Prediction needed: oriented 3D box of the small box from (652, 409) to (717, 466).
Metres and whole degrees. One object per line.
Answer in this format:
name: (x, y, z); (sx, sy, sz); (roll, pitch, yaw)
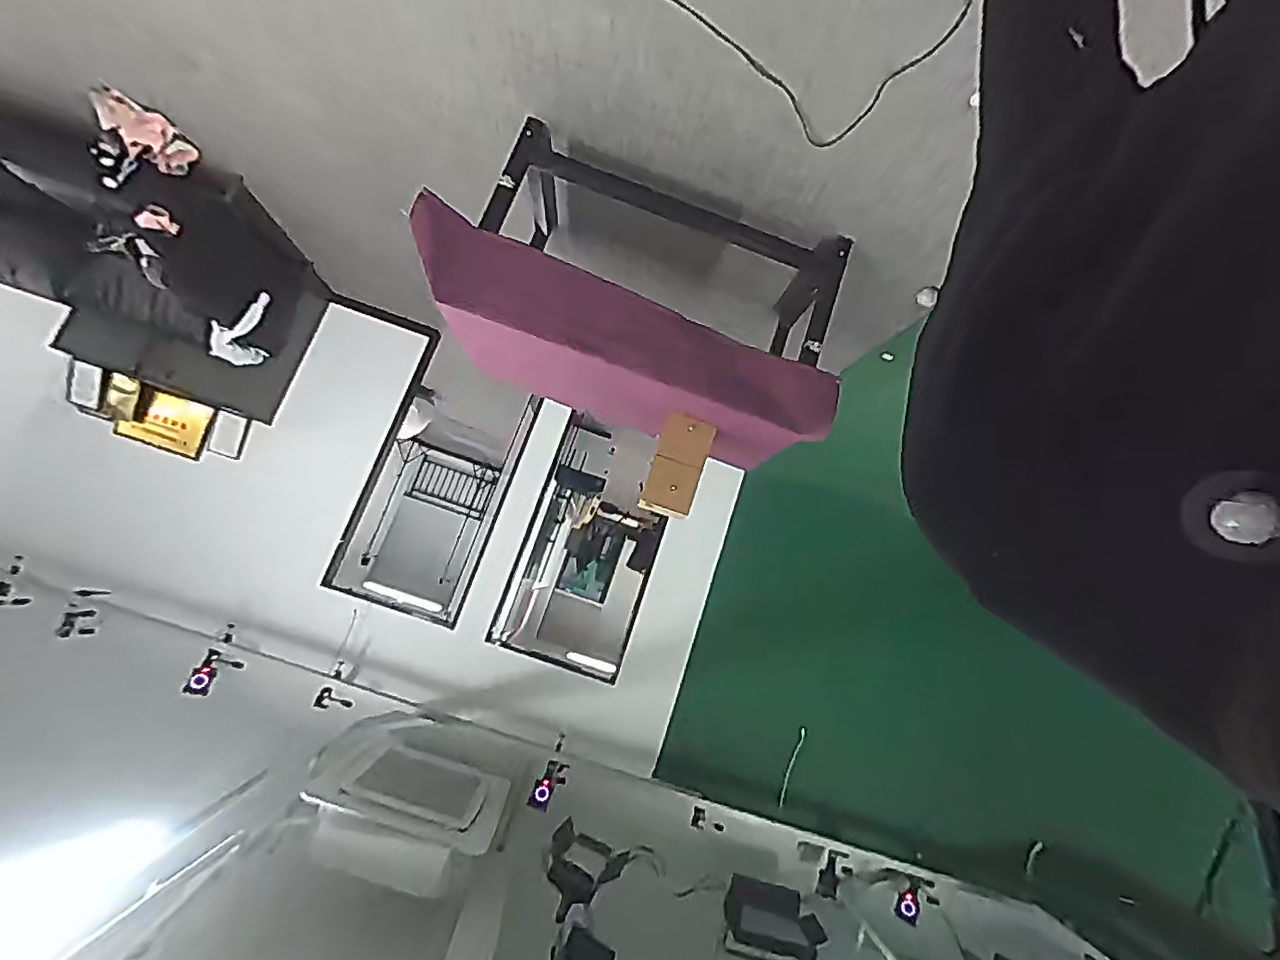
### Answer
small box: (0.160, -0.144, 1.953); (0.179, 0.176, 0.168); (20, 170, -1)

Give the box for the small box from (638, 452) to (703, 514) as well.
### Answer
small box: (0.106, 0.009, 1.923); (0.179, 0.176, 0.168); (18, 169, -1)
